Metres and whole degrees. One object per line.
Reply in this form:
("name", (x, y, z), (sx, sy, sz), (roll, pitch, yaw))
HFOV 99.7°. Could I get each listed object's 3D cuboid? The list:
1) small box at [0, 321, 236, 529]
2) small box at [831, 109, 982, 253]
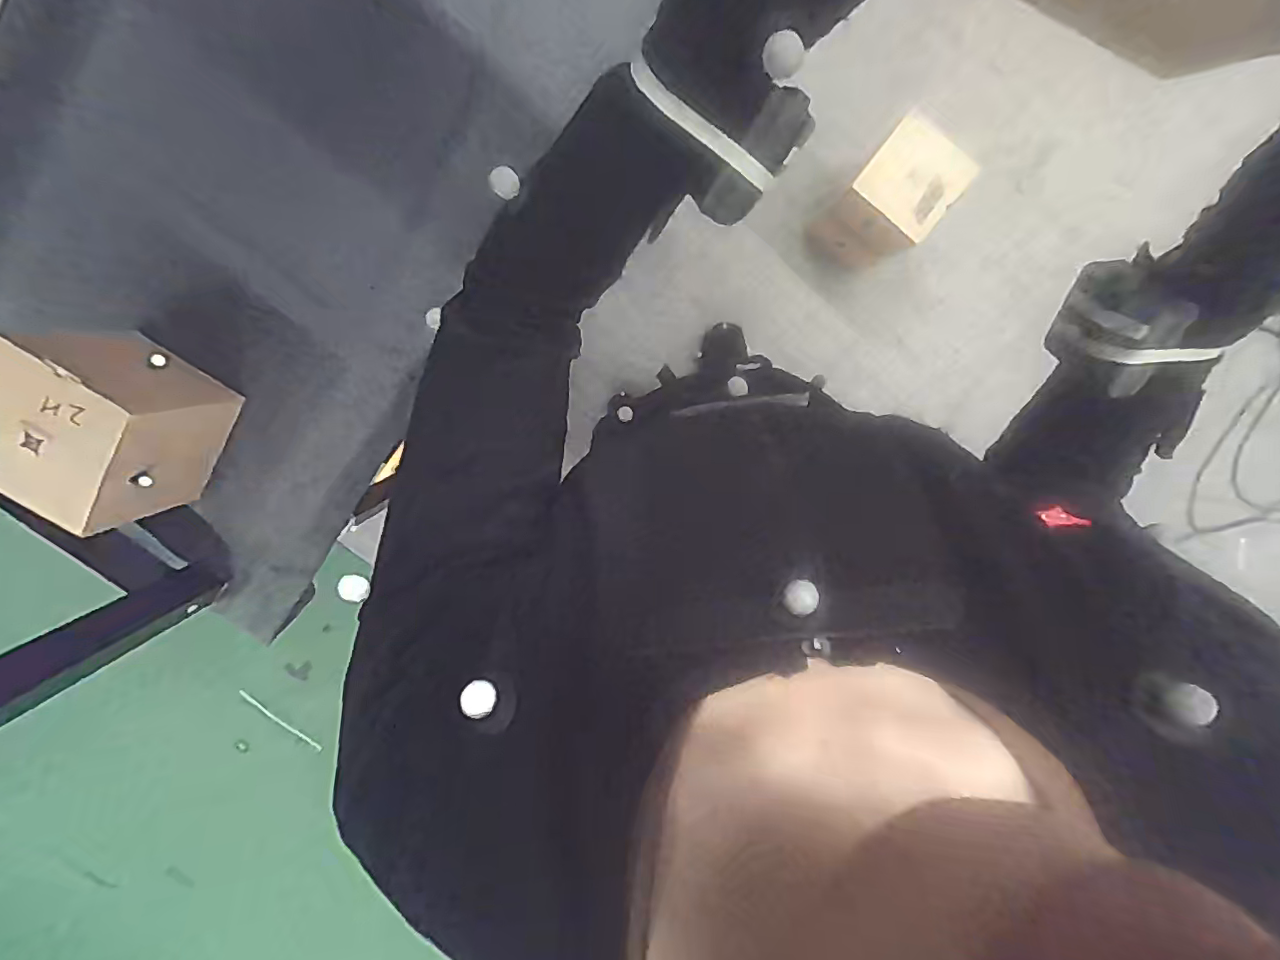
("small box", (-0.657, -0.074, 0.668), (0.168, 0.176, 0.179), (34, 103, -7))
("small box", (0.515, -0.576, 1.072), (0.179, 0.176, 0.168), (38, 103, -6))
